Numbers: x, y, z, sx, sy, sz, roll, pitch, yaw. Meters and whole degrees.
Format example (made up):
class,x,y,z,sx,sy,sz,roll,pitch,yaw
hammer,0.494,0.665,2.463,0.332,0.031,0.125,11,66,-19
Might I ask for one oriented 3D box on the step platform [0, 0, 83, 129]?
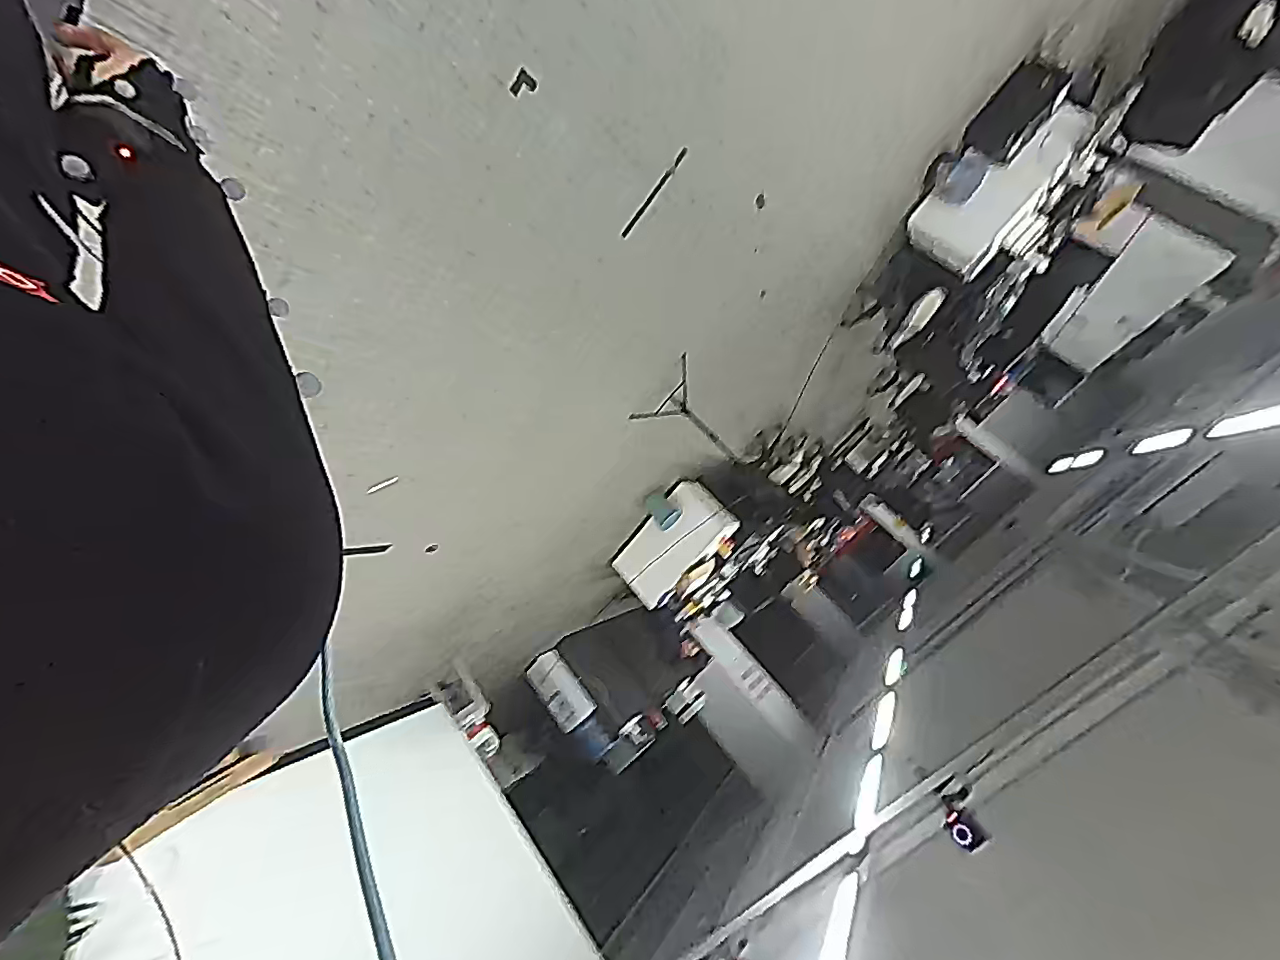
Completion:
class,x,y,z,sx,sy,sz,roll,pitch,yaw
step platform,-1.098,-0.735,0.585,0.286,0.204,0.684,-50,156,13
